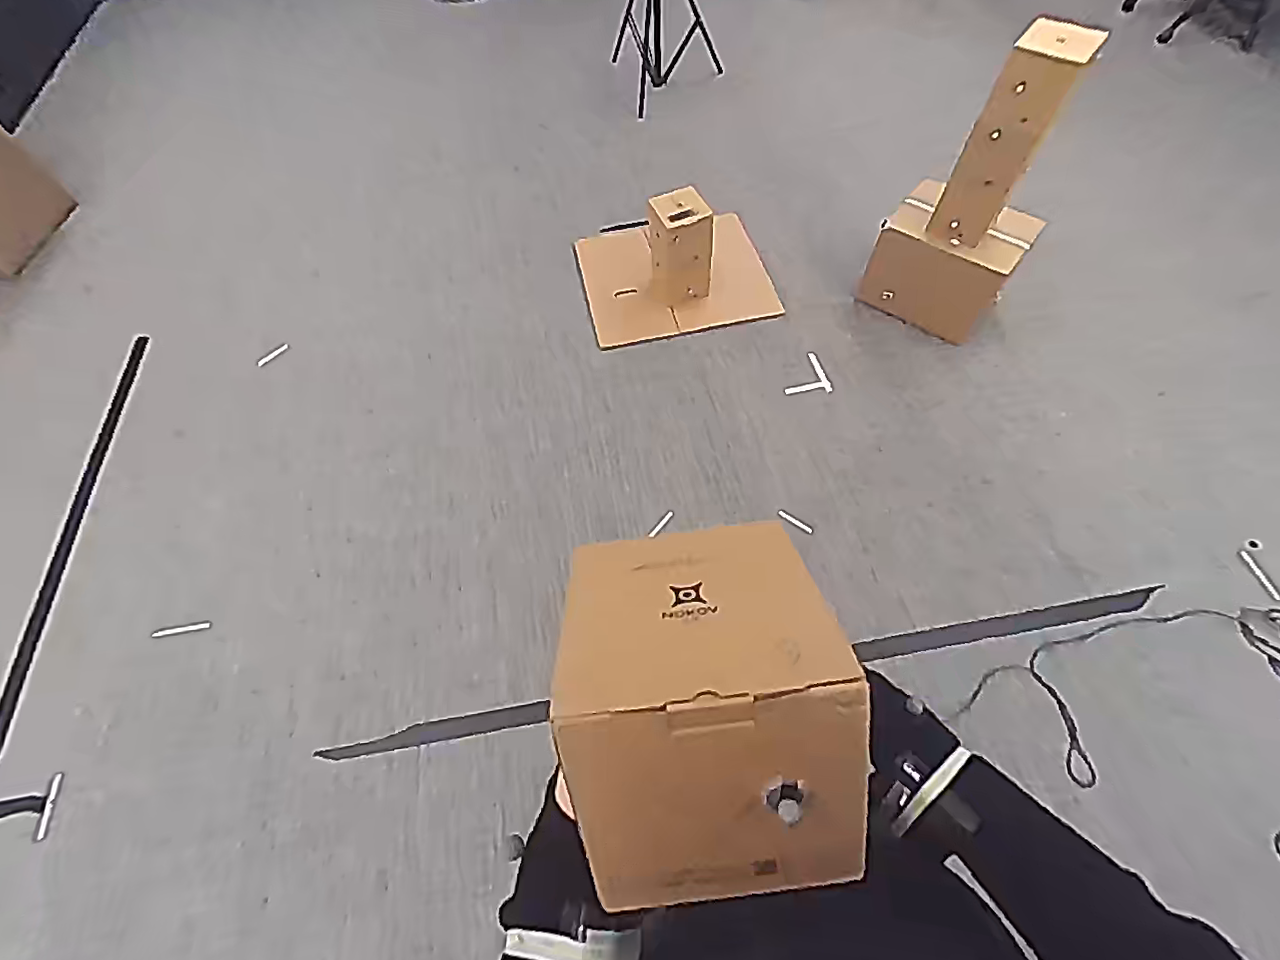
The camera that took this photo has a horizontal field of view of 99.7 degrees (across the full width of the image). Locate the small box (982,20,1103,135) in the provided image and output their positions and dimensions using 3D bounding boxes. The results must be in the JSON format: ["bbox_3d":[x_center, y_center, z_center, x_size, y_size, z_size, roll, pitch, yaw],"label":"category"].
[{"bbox_3d":[1.006,-1.014,1.369,0.168,0.176,0.179,33,67,20],"label":"small box"}]

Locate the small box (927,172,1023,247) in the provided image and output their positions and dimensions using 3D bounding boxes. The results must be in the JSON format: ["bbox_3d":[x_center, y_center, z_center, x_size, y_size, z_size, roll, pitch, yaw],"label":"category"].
[{"bbox_3d":[1.017,-0.855,1.655,0.168,0.176,0.179,34,68,20],"label":"small box"}]

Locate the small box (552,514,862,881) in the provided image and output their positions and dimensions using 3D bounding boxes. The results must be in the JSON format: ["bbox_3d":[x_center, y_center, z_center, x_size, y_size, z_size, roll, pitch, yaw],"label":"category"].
[{"bbox_3d":[0.043,0.146,0.383,0.168,0.176,0.179,-8,23,1],"label":"small box"}]

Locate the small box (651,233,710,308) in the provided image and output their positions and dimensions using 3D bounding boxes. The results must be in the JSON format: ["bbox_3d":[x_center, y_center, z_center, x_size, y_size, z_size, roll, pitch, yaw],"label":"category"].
[{"bbox_3d":[0.147,-0.771,1.995,0.168,0.176,0.179,-20,62,-6],"label":"small box"}]

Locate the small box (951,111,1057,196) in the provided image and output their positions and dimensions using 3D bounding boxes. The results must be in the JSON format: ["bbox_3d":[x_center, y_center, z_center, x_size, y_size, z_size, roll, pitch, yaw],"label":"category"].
[{"bbox_3d":[1.012,-0.938,1.513,0.168,0.176,0.179,34,67,20],"label":"small box"}]
